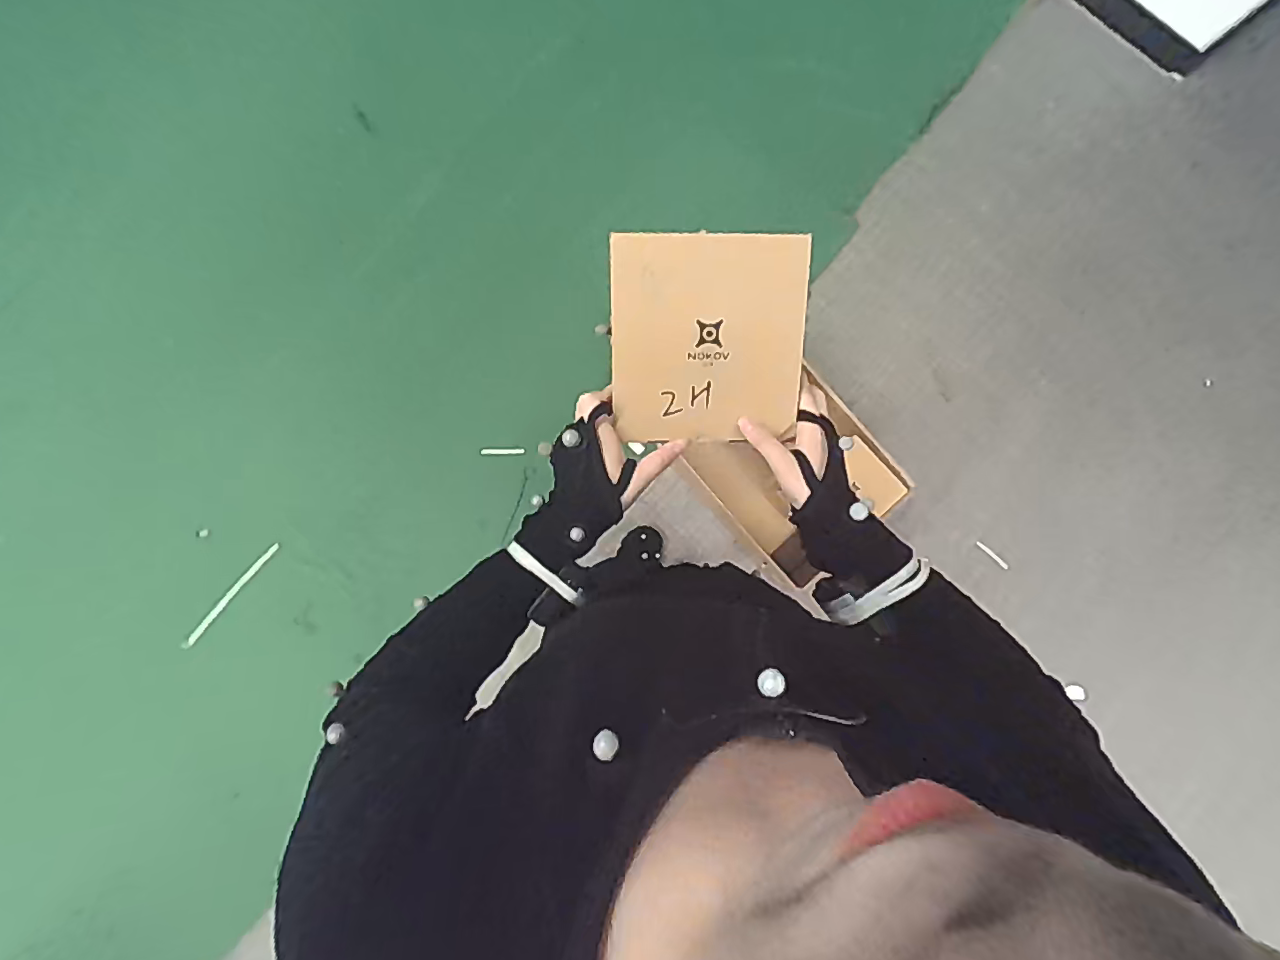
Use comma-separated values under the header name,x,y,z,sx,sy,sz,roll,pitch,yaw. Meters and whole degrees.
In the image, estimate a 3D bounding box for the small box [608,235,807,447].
name,x,y,z,sx,sy,sz,roll,pitch,yaw
small box,0.051,-0.135,0.535,0.168,0.176,0.179,0,107,-1

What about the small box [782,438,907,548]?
name,x,y,z,sx,sy,sz,roll,pitch,yaw
small box,0.448,0.028,1.217,0.179,0.176,0.168,-42,88,0
